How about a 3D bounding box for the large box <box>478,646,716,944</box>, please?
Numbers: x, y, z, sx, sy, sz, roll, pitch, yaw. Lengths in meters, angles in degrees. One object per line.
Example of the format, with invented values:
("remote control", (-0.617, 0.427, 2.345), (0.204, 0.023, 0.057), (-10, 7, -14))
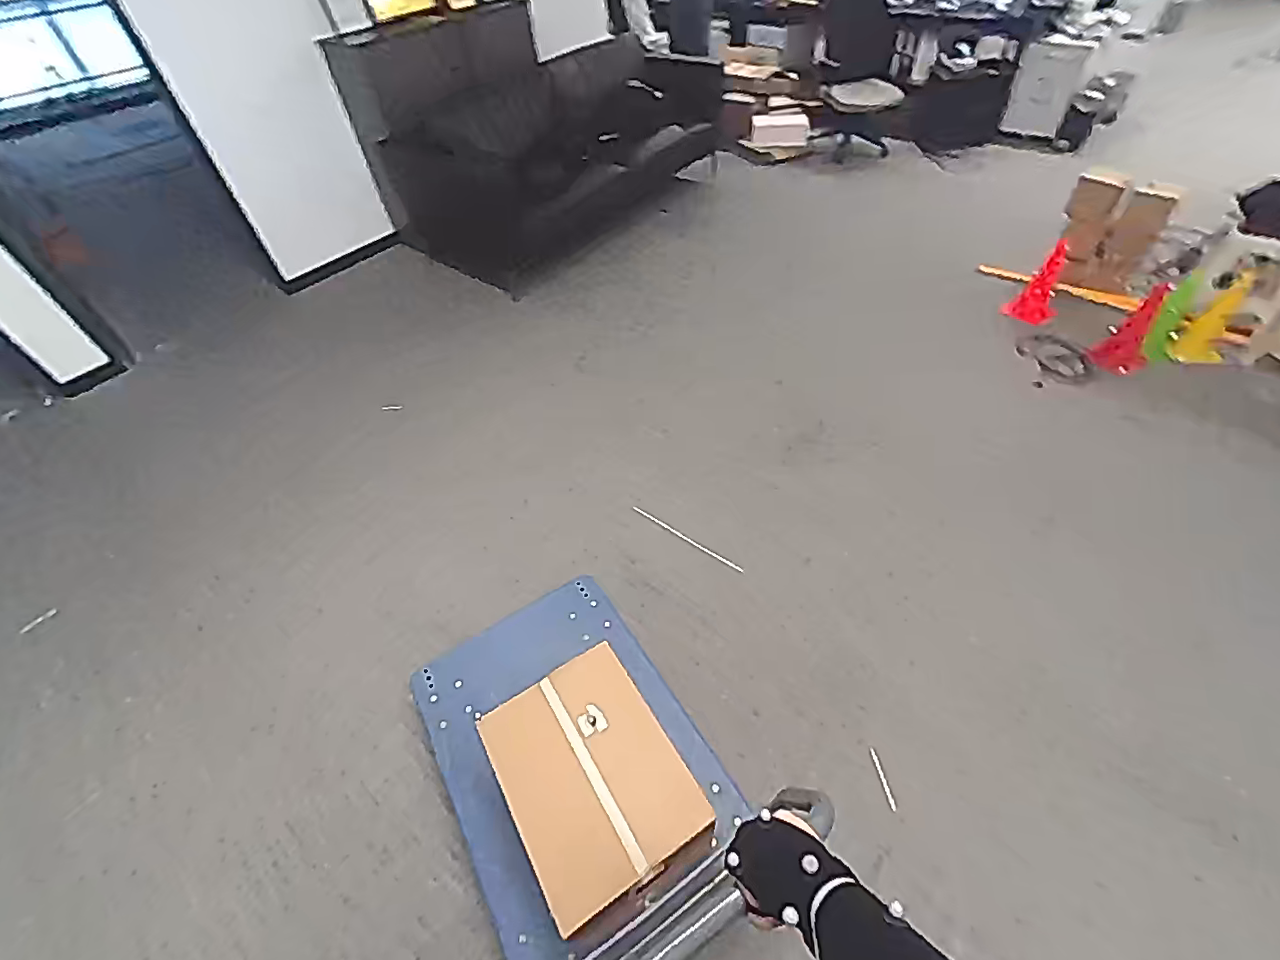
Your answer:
("large box", (-0.083, 0.647, 1.134), (0.320, 0.320, 0.408), (-27, 50, -19))
